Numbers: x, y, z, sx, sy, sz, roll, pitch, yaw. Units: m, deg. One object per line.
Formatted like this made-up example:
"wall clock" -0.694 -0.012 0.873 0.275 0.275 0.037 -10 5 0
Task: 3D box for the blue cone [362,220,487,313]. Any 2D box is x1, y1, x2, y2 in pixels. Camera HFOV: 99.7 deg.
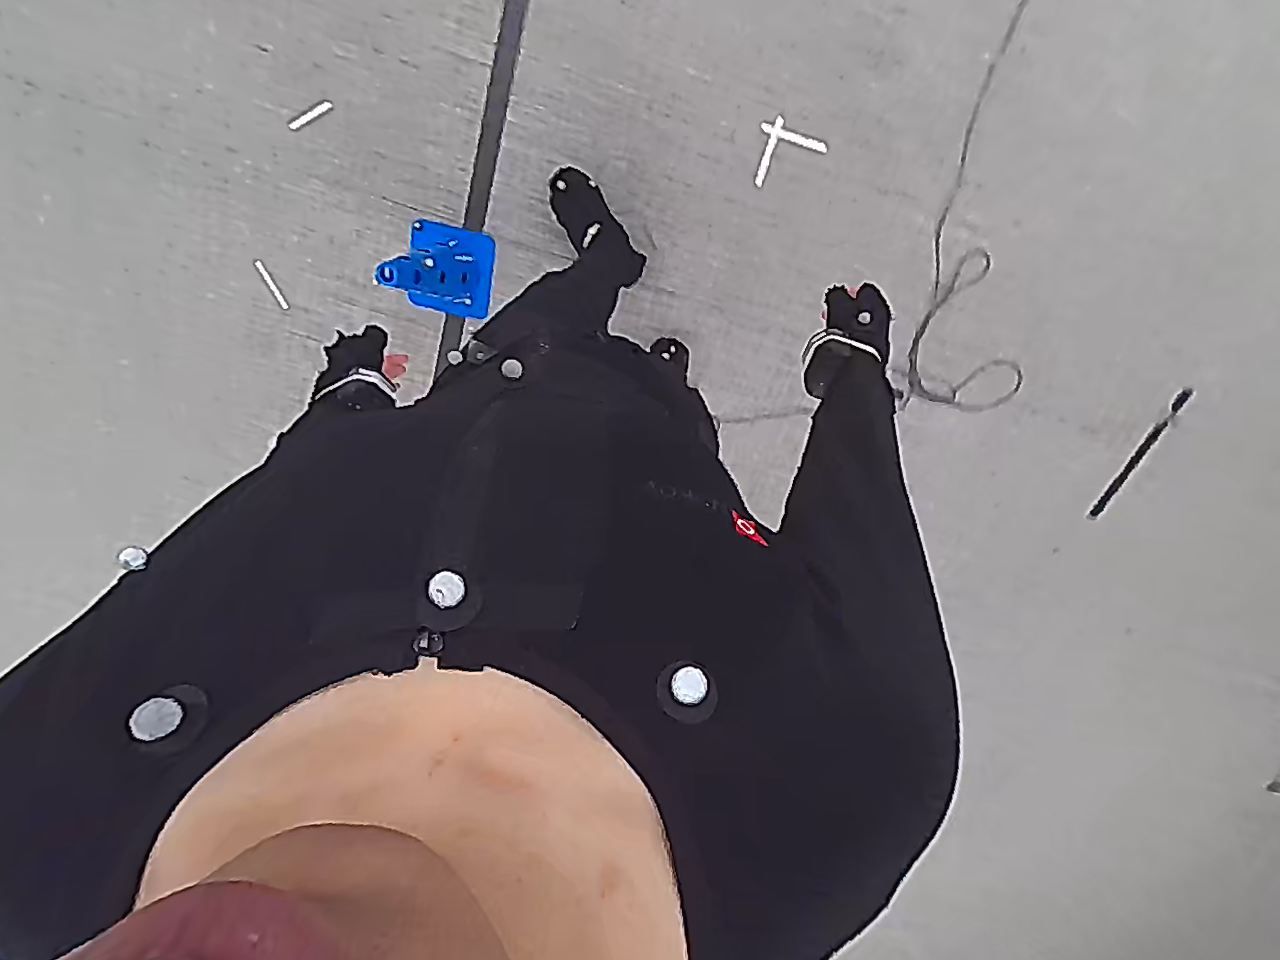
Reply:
"blue cone" -0.474 -0.450 1.154 0.192 0.380 0.193 14 112 -4
